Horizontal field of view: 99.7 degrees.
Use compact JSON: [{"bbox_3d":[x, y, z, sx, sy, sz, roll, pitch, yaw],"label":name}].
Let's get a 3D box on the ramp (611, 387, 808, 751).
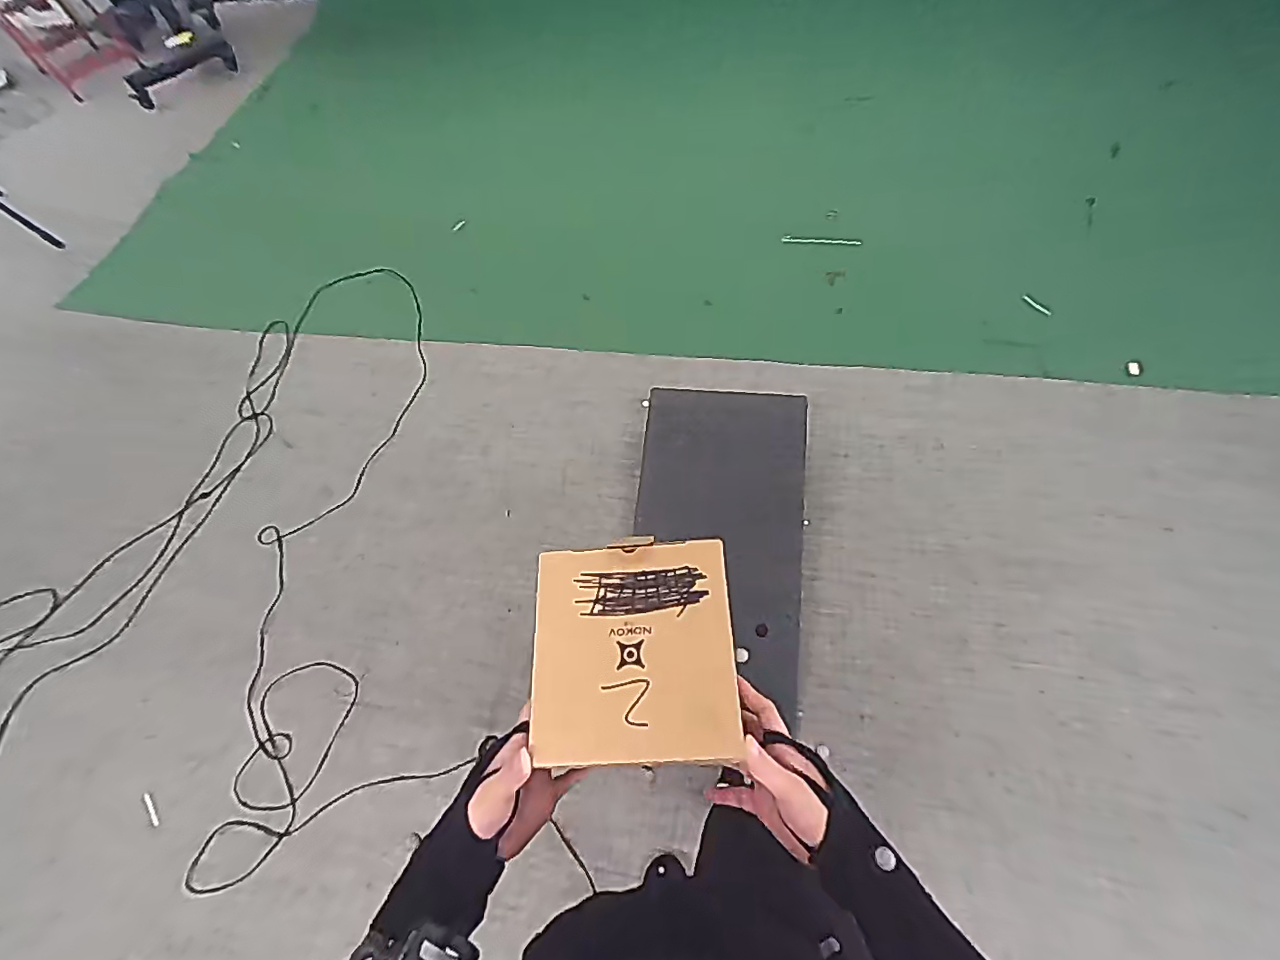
[{"bbox_3d":[0.219,0.196,1.542,0.509,0.206,0.991,4,63,7],"label":"ramp"}]
